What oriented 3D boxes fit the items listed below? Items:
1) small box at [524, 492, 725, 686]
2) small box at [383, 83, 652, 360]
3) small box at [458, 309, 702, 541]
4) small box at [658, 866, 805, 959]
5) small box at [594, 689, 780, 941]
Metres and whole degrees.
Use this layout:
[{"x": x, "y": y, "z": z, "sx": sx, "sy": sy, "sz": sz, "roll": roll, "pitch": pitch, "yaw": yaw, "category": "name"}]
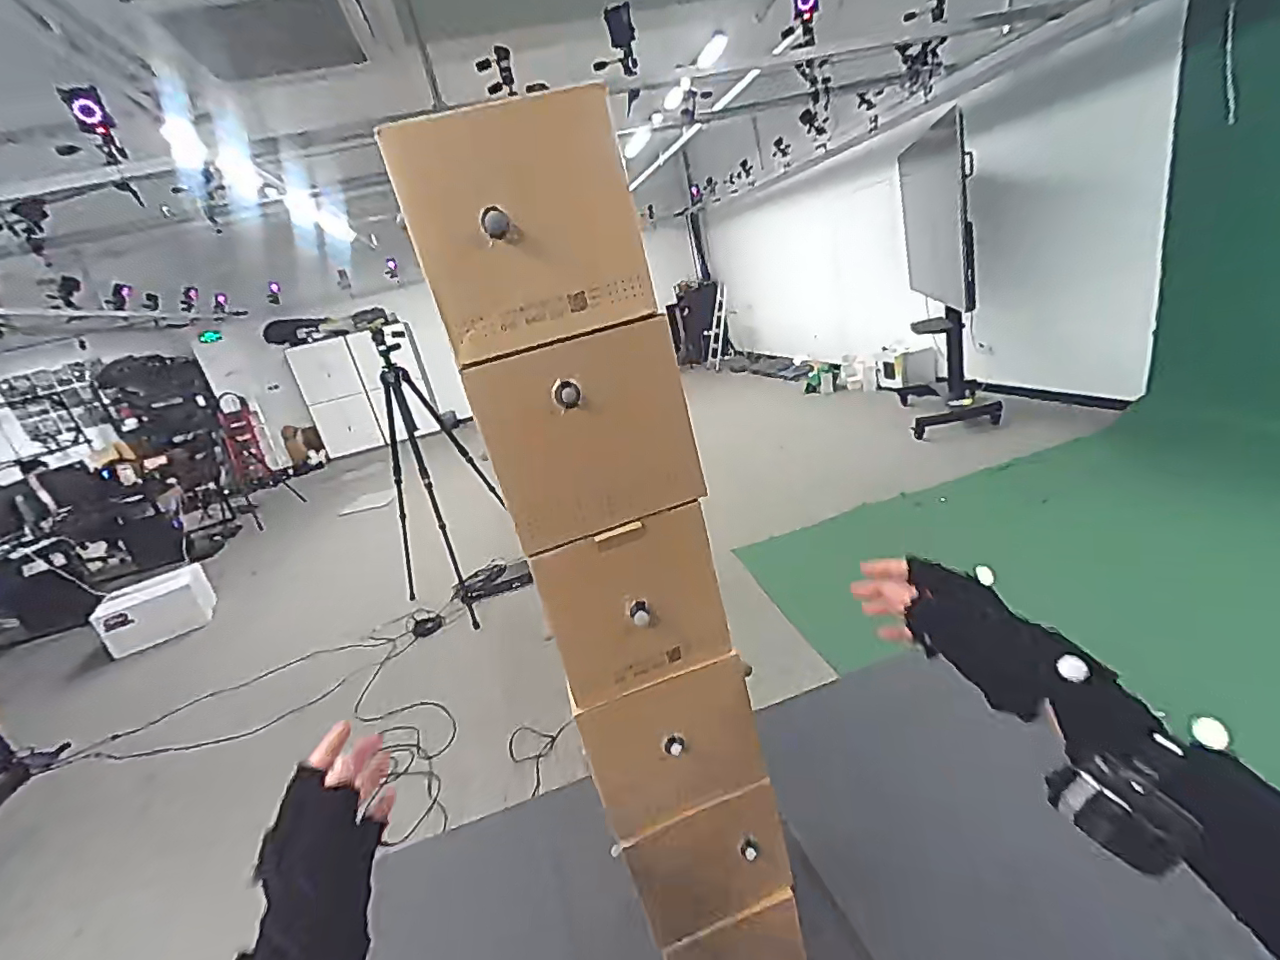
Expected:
[{"x": -0.023, "y": 0.095, "z": 0.585, "sx": 0.168, "sy": 0.176, "sz": 0.179, "roll": -17, "pitch": 18, "yaw": -10, "category": "small box"}, {"x": -0.098, "y": -0.208, "z": 0.485, "sx": 0.168, "sy": 0.176, "sz": 0.179, "roll": -17, "pitch": 17, "yaw": -7, "category": "small box"}, {"x": -0.058, "y": -0.058, "z": 0.532, "sx": 0.179, "sy": 0.176, "sz": 0.168, "roll": -17, "pitch": 18, "yaw": -9, "category": "small box"}, {"x": 0.099, "y": 0.551, "z": 0.715, "sx": 0.168, "sy": 0.176, "sz": 0.179, "roll": -17, "pitch": 19, "yaw": -8, "category": "small box"}, {"x": 0.058, "y": 0.401, "z": 0.666, "sx": 0.179, "sy": 0.176, "sz": 0.168, "roll": -17, "pitch": 18, "yaw": -10, "category": "small box"}]
